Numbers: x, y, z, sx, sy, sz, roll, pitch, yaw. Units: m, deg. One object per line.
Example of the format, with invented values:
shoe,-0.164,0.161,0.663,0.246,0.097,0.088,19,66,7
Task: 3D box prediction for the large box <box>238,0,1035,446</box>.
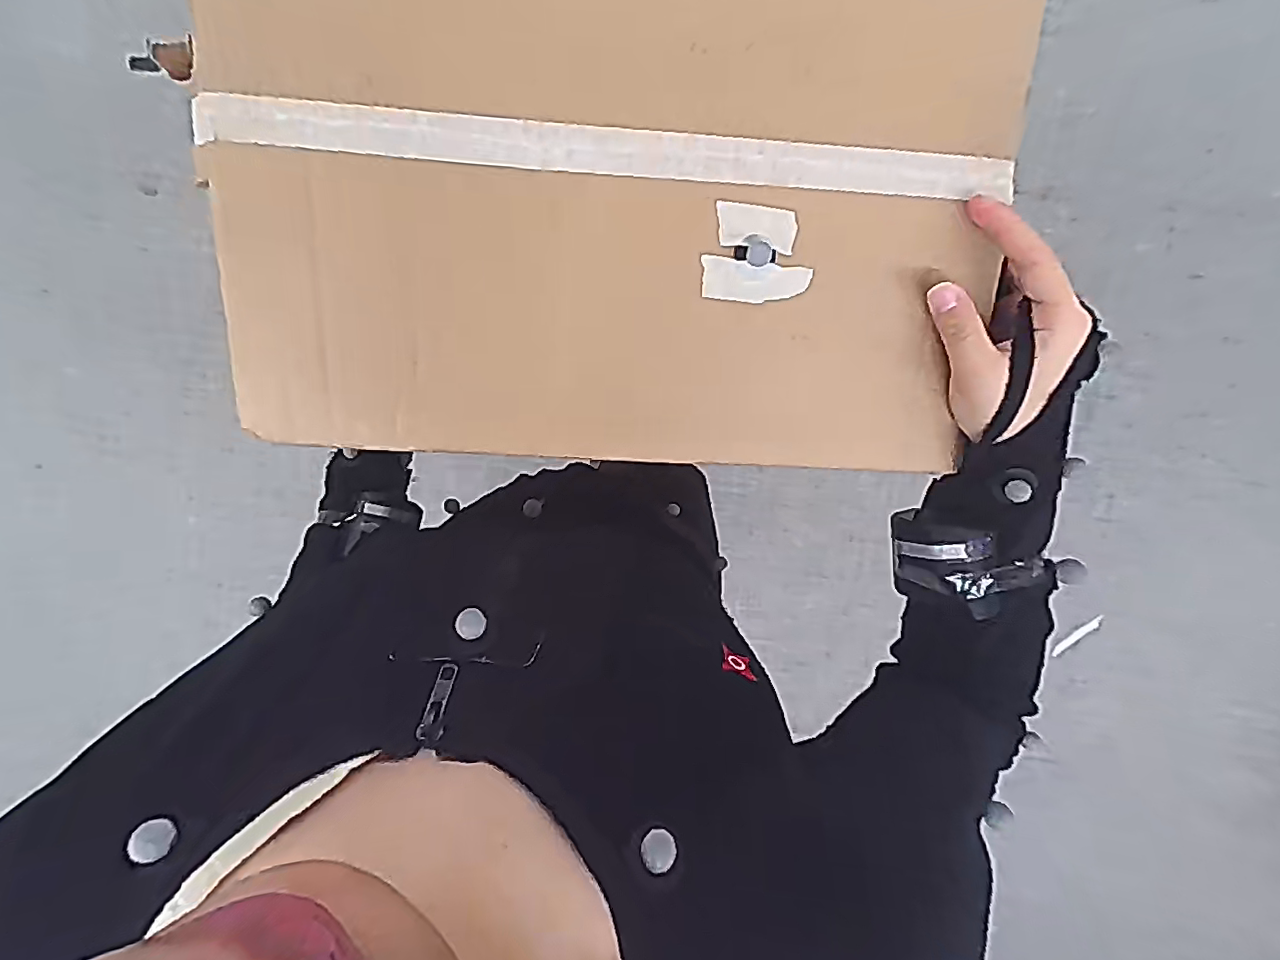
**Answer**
large box,-0.010,-0.205,0.427,0.408,0.320,0.320,2,103,-6
